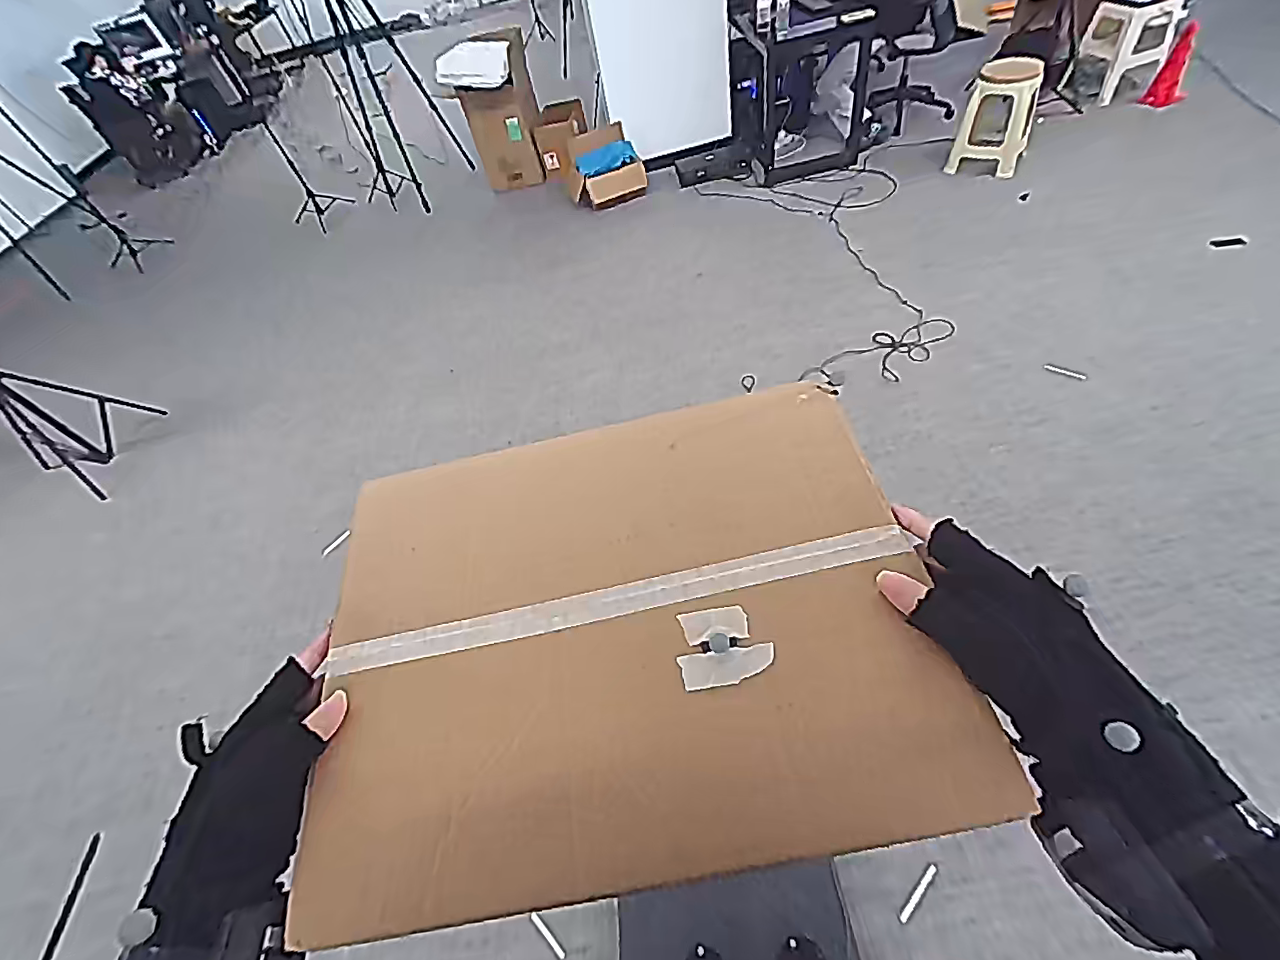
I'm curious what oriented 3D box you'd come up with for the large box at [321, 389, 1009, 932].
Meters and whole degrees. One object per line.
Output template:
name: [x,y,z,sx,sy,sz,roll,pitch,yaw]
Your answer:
large box: [0.008,0.170,0.505,0.408,0.320,0.320,-12,56,2]
